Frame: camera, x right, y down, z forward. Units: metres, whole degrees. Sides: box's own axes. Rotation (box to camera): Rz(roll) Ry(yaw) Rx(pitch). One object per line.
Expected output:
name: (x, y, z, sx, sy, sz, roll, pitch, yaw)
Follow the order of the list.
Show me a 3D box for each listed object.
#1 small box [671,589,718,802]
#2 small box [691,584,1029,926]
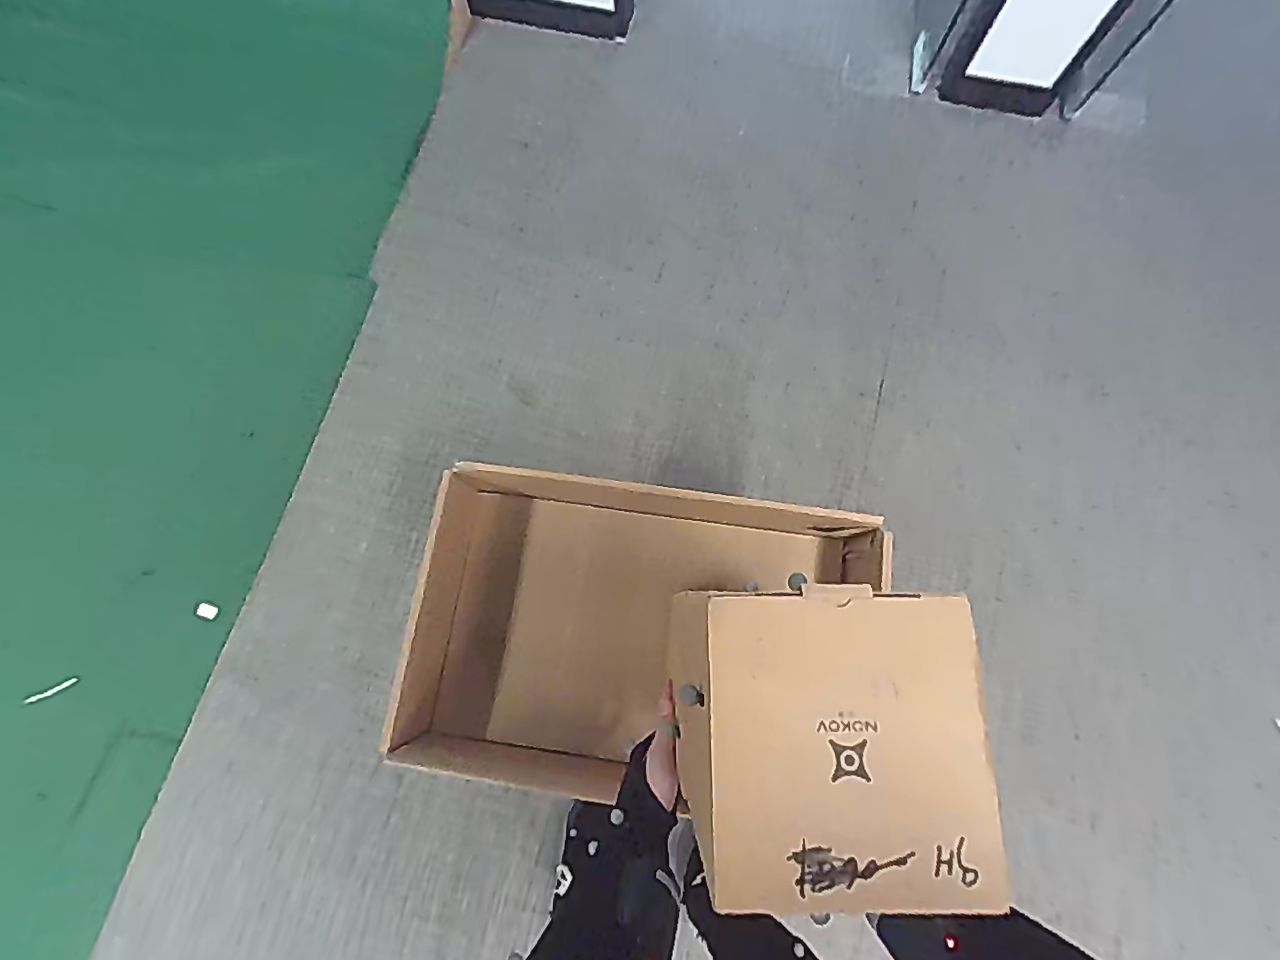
small box: (0.120, 0.203, 0.543, 0.168, 0.176, 0.179, 2, 77, 0)
small box: (0.125, 0.168, 0.382, 0.168, 0.176, 0.179, 0, 77, 1)
